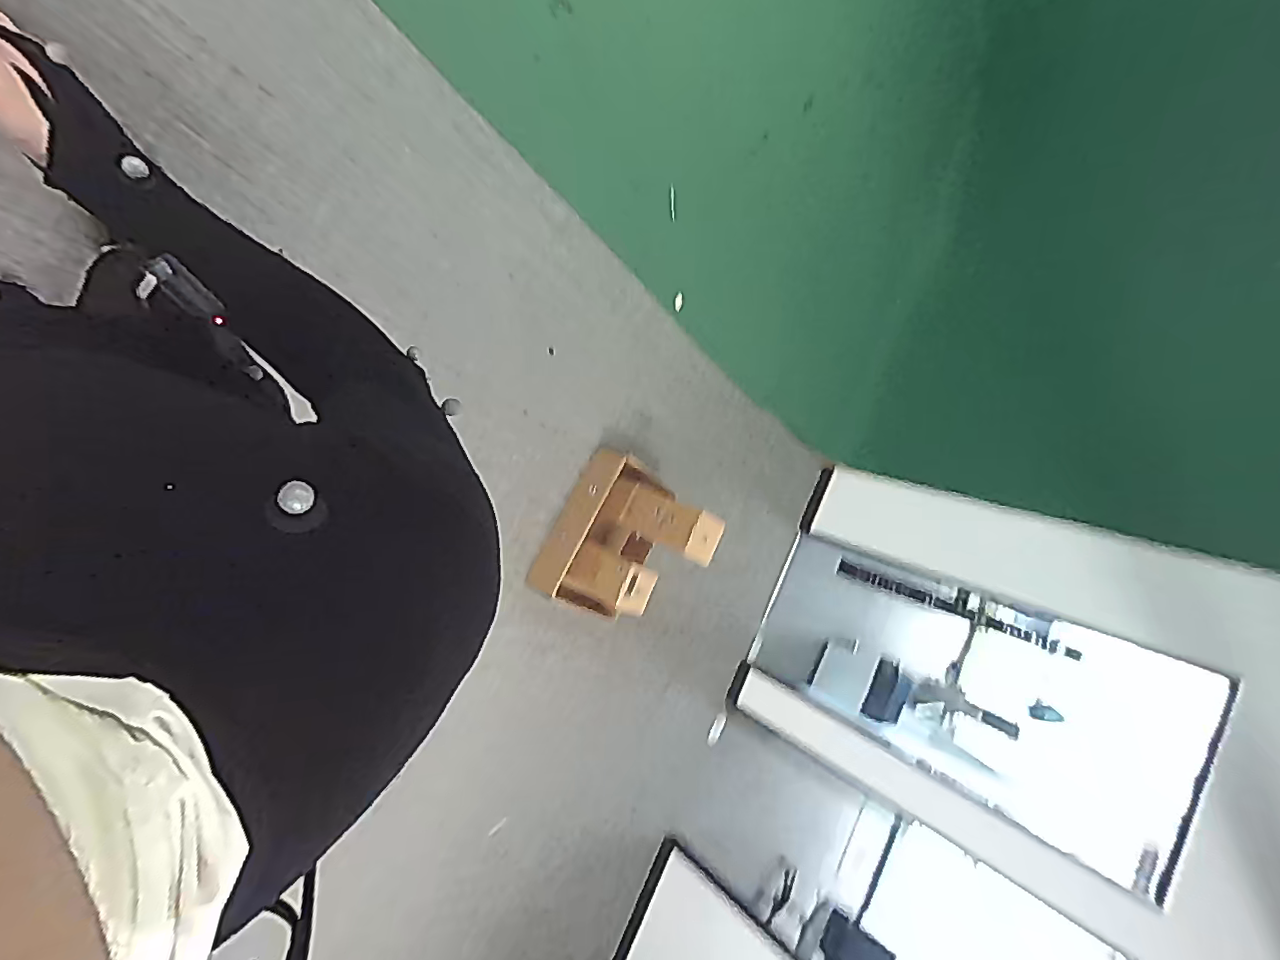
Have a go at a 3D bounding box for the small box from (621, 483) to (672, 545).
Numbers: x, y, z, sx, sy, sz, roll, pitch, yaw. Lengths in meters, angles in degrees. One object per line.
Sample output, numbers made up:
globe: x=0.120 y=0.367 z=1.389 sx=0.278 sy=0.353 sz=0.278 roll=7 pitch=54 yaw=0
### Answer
small box: x=0.062 y=0.128 z=2.087 sx=0.179 sy=0.176 sz=0.168 roll=33 pitch=80 yaw=-48

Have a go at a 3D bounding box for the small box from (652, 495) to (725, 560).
small box: x=0.176 y=0.171 z=1.979 sx=0.179 sy=0.176 sz=0.168 roll=31 pitch=82 yaw=-47
